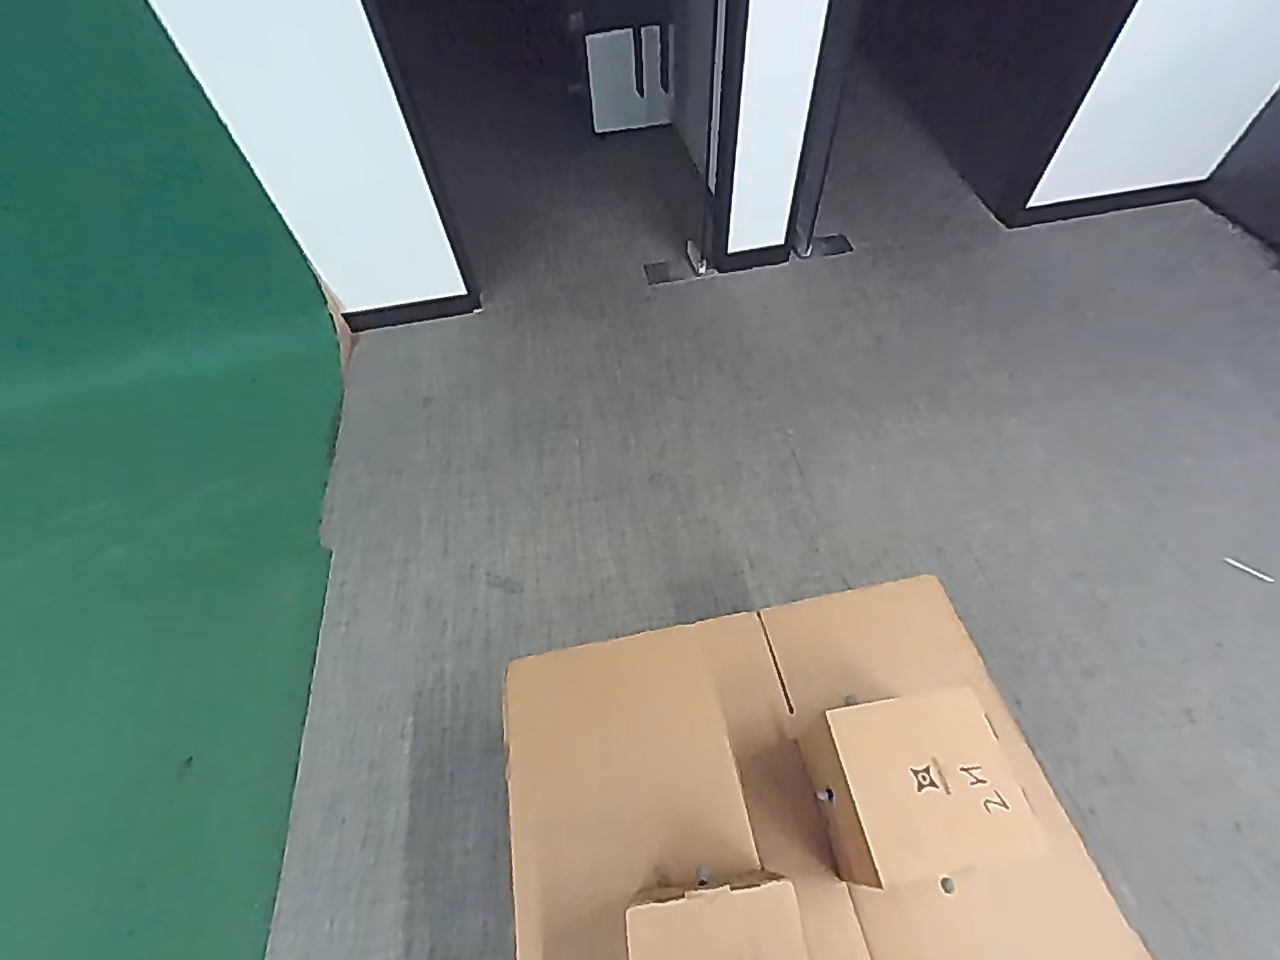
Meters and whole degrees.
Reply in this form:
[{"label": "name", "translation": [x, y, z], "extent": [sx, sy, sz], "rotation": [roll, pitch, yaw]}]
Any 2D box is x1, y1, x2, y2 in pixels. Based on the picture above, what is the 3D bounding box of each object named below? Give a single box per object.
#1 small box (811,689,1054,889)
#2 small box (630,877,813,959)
[{"label": "small box", "translation": [0.310, 0.360, 0.627], "extent": [0.179, 0.176, 0.168], "rotation": [-10, 55, -1]}, {"label": "small box", "translation": [0.084, 0.513, 0.535], "extent": [0.168, 0.176, 0.179], "rotation": [-9, 55, -1]}]
